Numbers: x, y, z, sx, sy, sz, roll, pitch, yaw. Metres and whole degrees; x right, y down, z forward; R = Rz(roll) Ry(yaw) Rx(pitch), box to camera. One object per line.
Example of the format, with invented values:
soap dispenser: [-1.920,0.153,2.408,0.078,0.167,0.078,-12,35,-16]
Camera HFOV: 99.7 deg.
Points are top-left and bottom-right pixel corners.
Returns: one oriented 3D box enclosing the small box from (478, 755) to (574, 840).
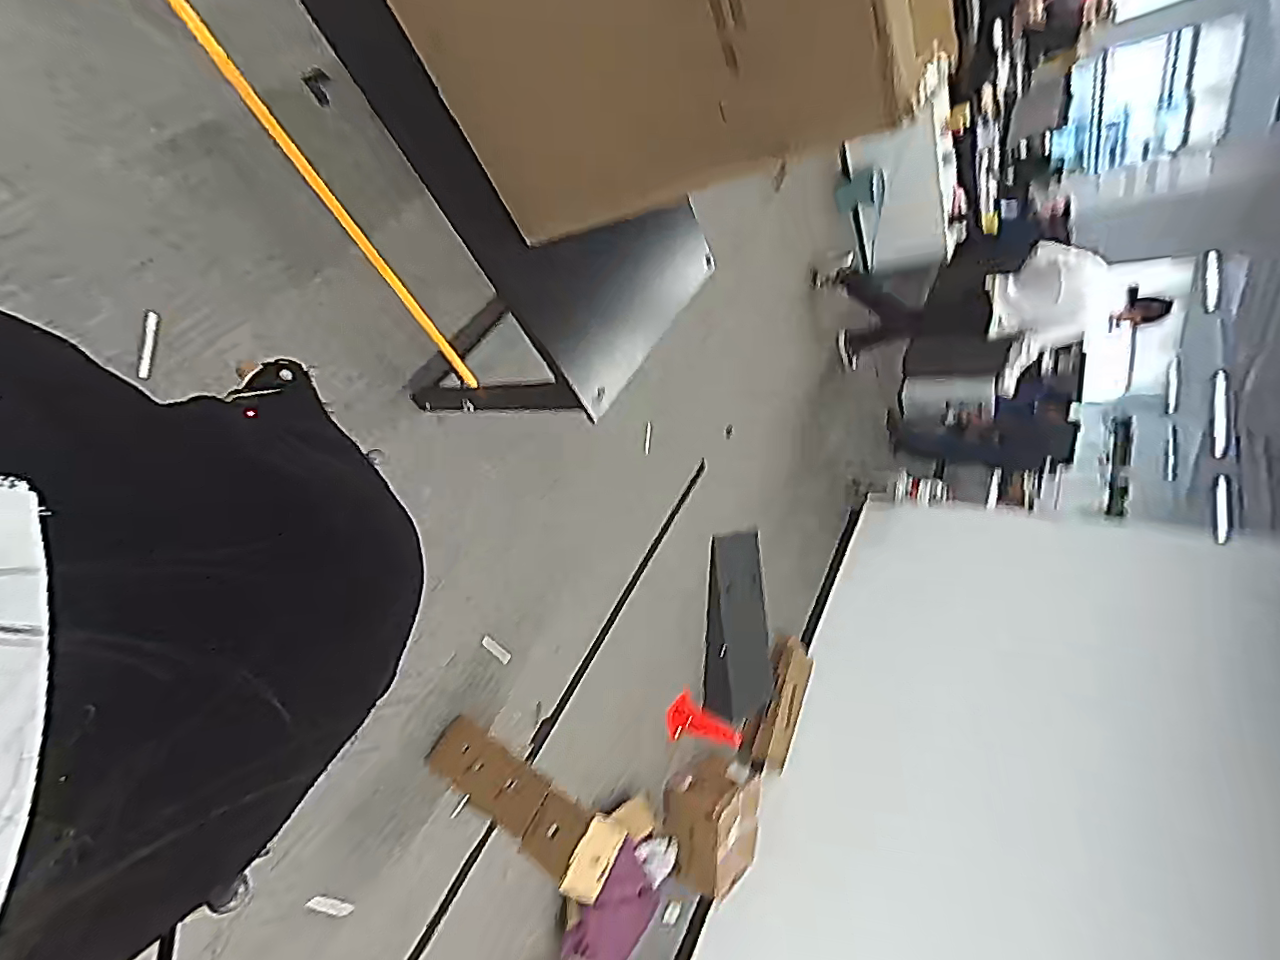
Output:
small box: [-0.318,0.913,1.529,0.168,0.176,0.179,-54,132,-31]

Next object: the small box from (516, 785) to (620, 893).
small box: [-0.191,0.939,1.427,0.168,0.176,0.179,-57,133,-29]

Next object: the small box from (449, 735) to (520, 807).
small box: [-0.436,0.907,1.640,0.168,0.176,0.179,-54,132,-31]

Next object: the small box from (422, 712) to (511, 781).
small box: [-0.561,0.884,1.745,0.179,0.176,0.168,-53,132,-31]
